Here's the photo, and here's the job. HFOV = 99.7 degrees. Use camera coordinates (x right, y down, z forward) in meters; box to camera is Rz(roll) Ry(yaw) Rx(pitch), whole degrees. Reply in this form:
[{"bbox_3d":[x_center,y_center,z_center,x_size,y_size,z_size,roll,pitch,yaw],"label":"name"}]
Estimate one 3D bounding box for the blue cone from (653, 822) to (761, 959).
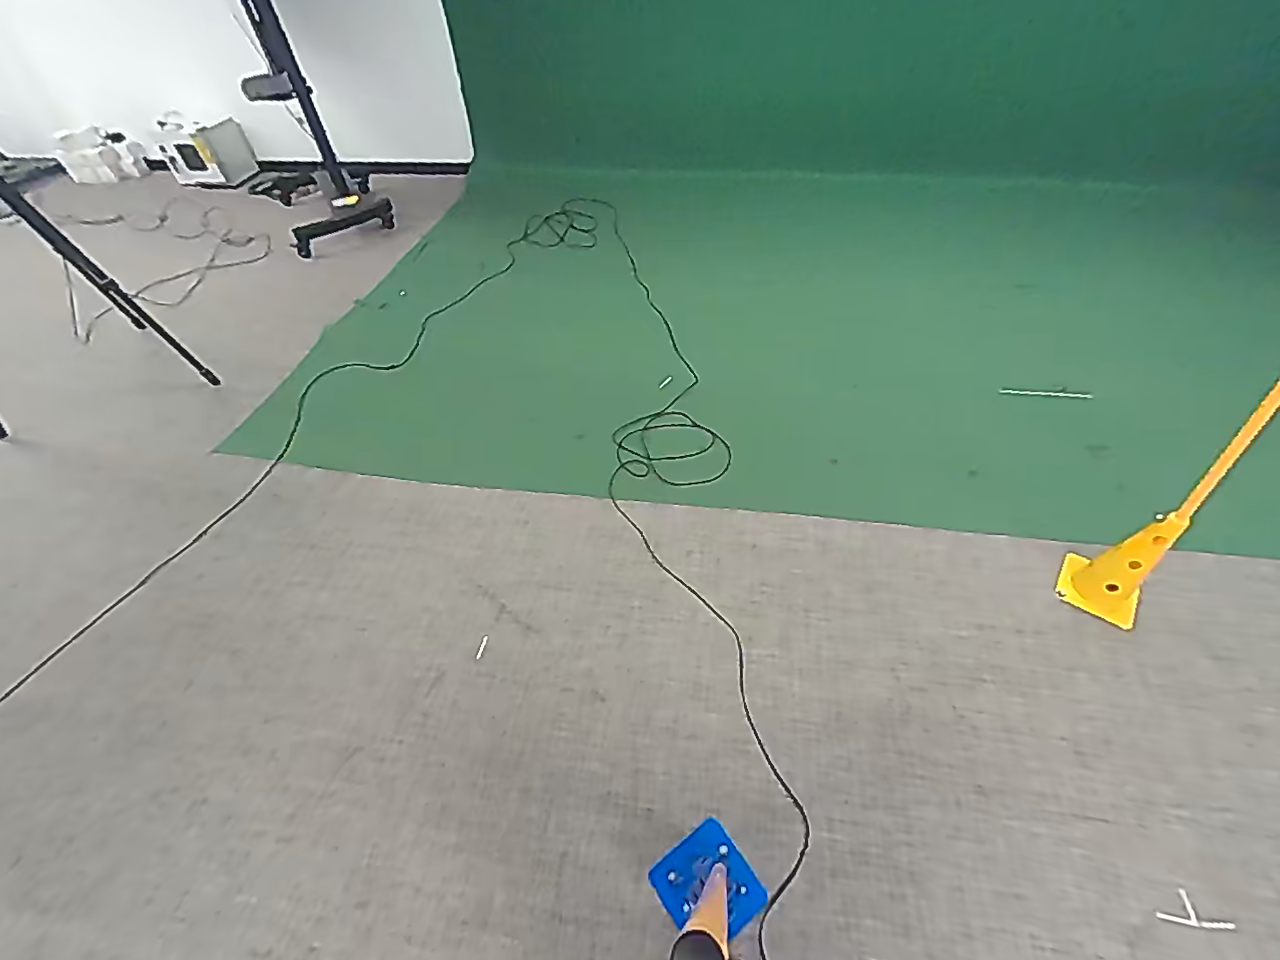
[{"bbox_3d":[0.138,0.784,1.050,0.193,0.380,0.192,-31,55,-21],"label":"blue cone"}]
